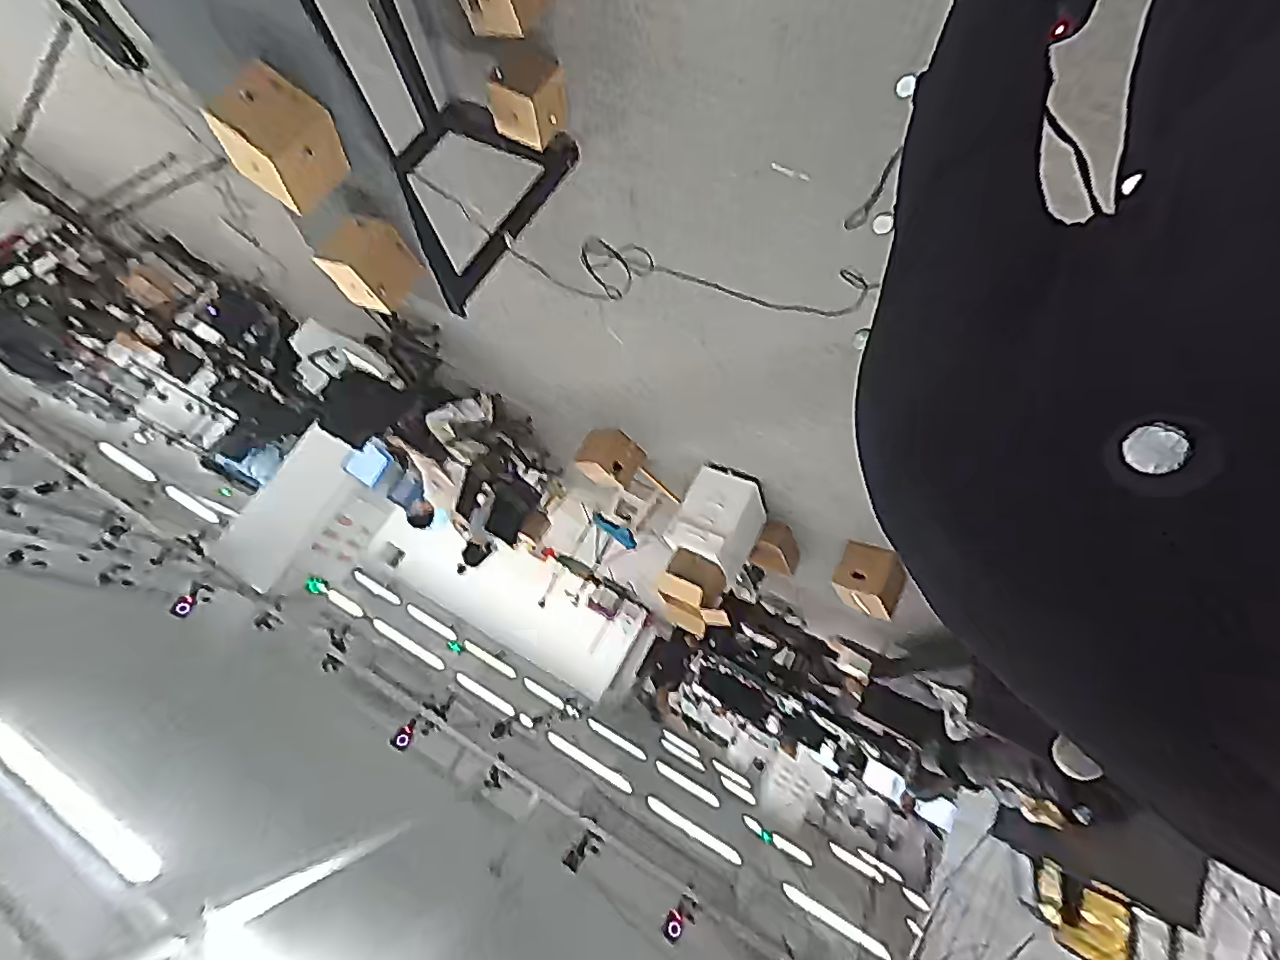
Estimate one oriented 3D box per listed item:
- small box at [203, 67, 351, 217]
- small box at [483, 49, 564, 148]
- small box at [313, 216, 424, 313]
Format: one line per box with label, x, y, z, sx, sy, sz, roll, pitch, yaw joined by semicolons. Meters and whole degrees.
small box;-0.760;-0.719;1.157;0.168;0.176;0.179;35;164;-5
small box;-0.349;-1.183;1.674;0.179;0.176;0.168;28;164;9
small box;-0.734;-0.592;1.479;0.179;0.176;0.168;22;162;25
